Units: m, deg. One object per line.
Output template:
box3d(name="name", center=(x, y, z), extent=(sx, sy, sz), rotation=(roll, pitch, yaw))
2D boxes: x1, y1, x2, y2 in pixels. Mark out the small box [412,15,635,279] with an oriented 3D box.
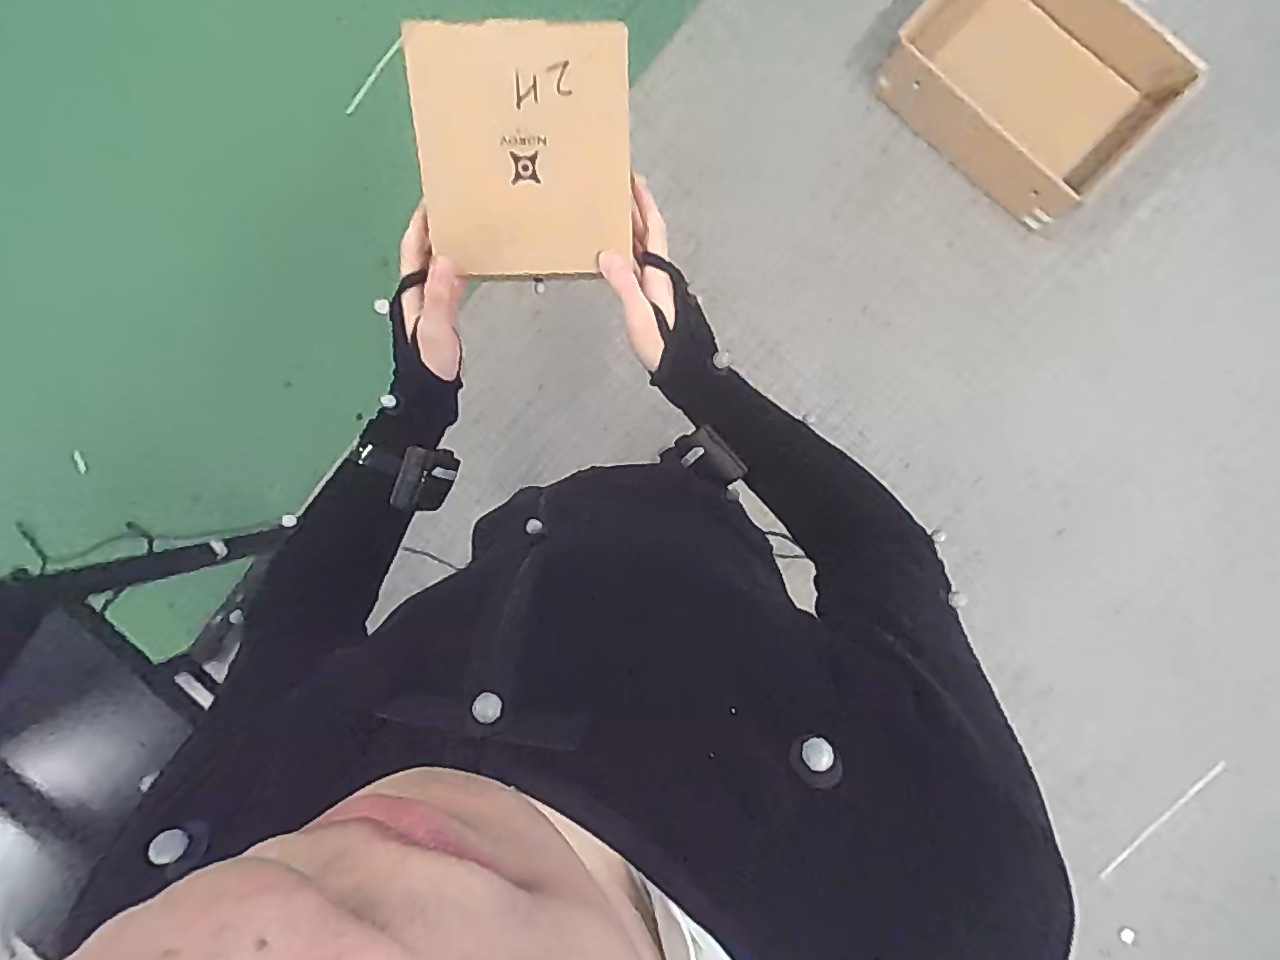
box3d(name="small box", center=(-0.090, -0.280, 0.498), extent=(0.168, 0.176, 0.179), rotation=(-1, 108, -4))
